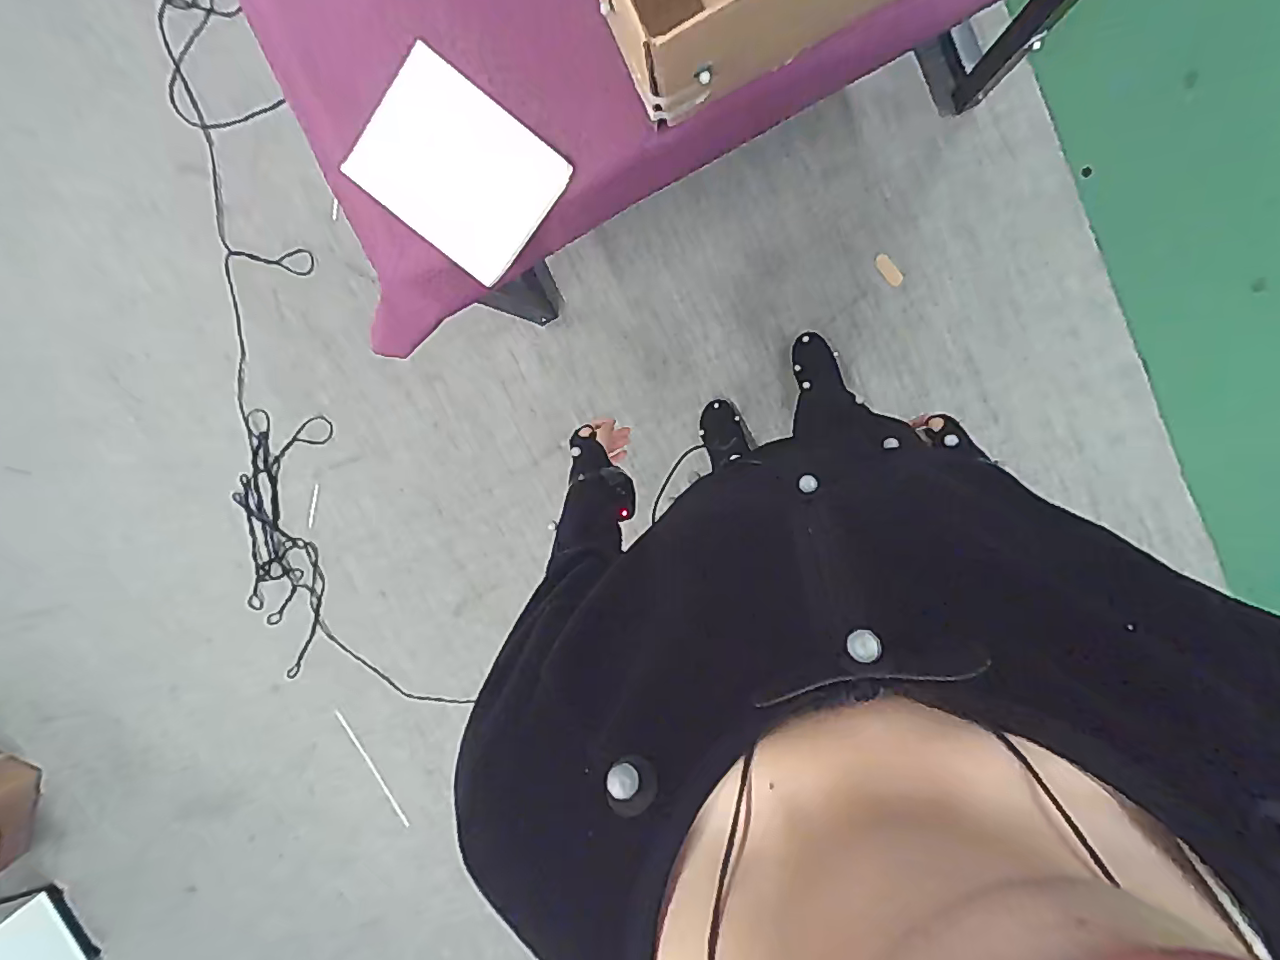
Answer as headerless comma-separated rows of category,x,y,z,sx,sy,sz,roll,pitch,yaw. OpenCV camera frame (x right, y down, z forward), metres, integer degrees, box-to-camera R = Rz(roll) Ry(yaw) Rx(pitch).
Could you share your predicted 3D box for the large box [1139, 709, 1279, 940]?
large box,1.579,0.850,1.298,0.408,0.320,0.320,-39,93,10
